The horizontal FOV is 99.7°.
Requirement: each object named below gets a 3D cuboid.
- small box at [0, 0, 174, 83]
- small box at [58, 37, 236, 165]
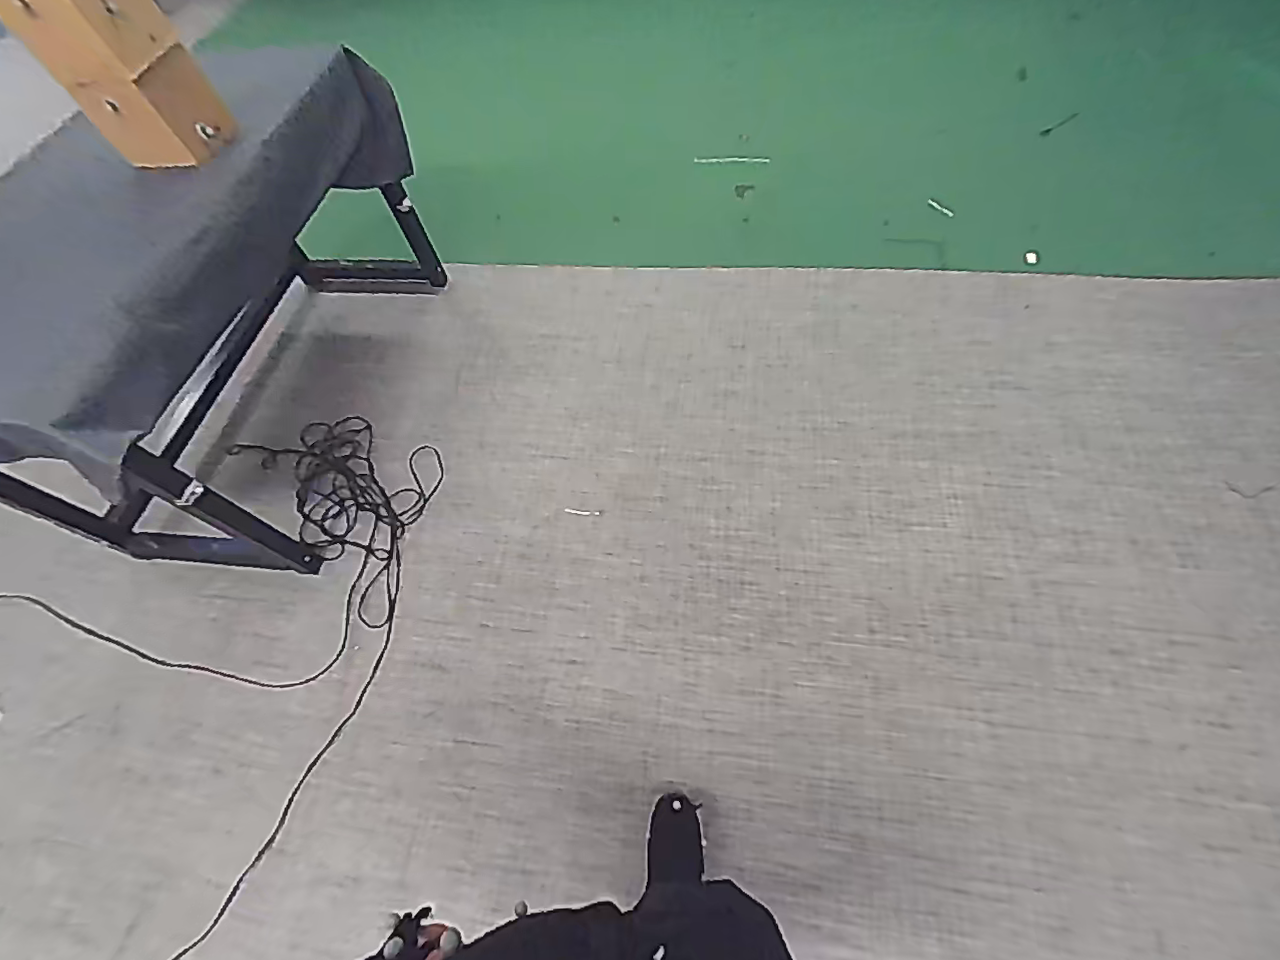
[{"bbox_3d":[-1.022,-0.860,0.985,0.179,0.176,0.168,3,62,9],"label":"small box"},{"bbox_3d":[-1.013,-0.785,1.129,0.179,0.176,0.168,5,62,8],"label":"small box"}]
